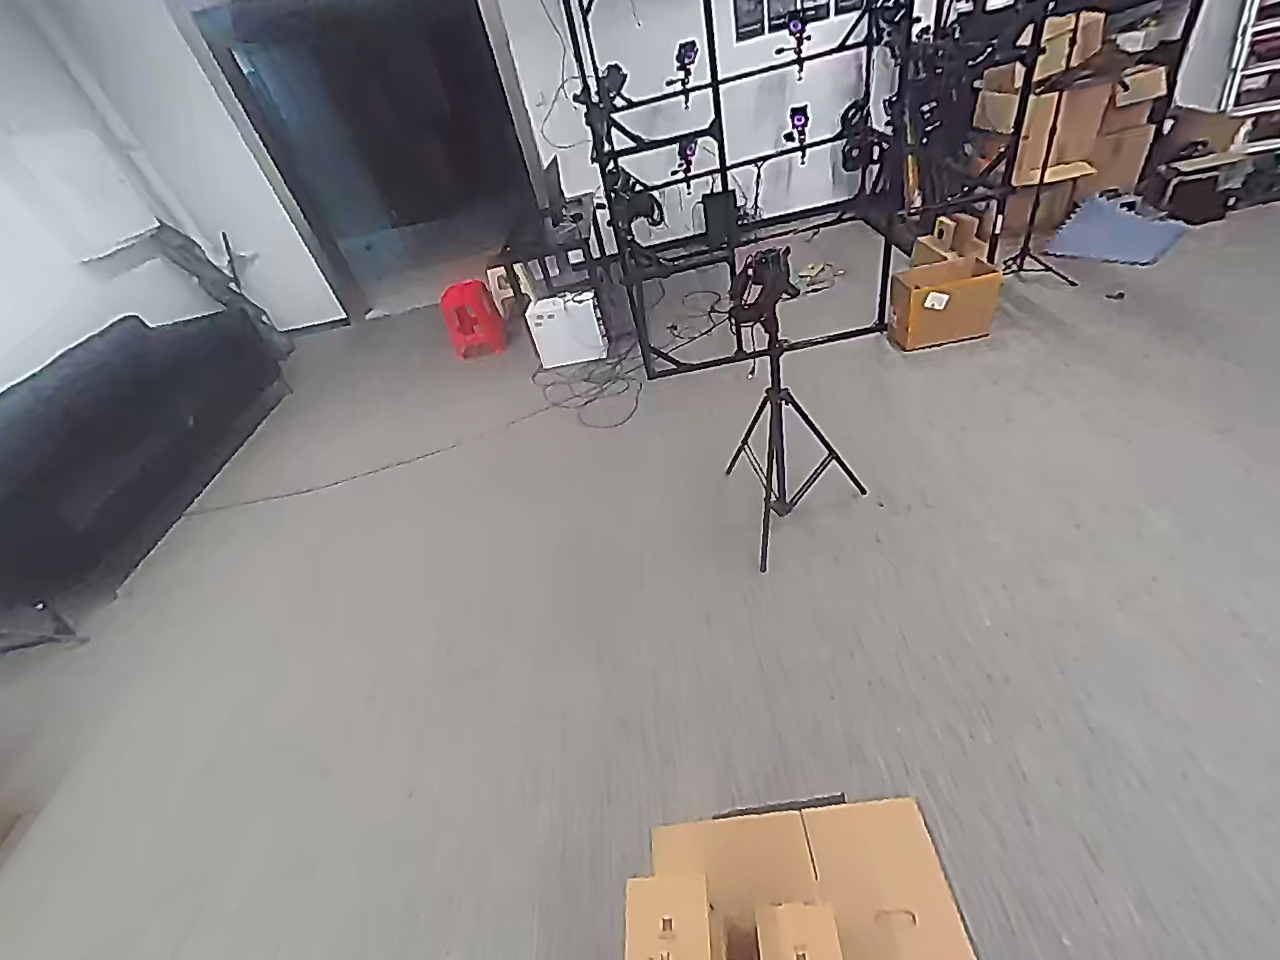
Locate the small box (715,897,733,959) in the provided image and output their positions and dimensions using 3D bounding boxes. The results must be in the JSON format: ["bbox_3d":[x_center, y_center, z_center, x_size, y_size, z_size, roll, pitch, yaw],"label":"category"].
[{"bbox_3d":[0.115,1.041,1.181,0.168,0.176,0.179,-9,40,8],"label":"small box"}]

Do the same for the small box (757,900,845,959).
[{"bbox_3d":[0.340,1.015,1.138,0.168,0.176,0.179,-8,40,8],"label":"small box"}]

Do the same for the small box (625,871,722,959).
[{"bbox_3d":[0.070,0.915,1.084,0.168,0.176,0.179,-9,40,9],"label":"small box"}]
